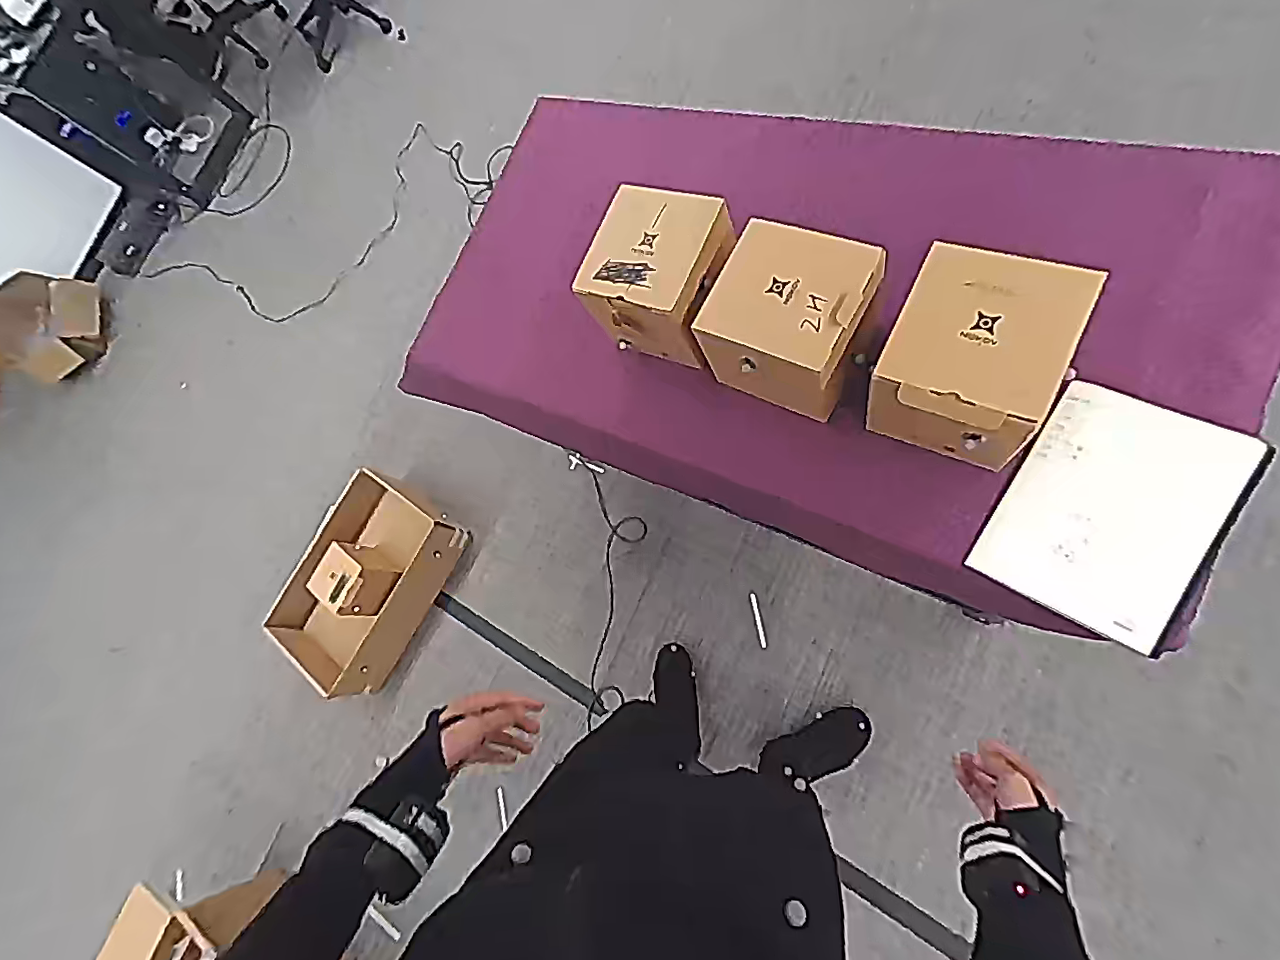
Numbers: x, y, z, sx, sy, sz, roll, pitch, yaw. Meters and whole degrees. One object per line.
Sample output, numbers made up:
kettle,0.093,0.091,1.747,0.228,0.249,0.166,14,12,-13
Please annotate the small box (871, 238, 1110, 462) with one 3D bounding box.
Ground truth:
small box,0.384,-0.140,0.628,0.168,0.176,0.179,25,84,24
